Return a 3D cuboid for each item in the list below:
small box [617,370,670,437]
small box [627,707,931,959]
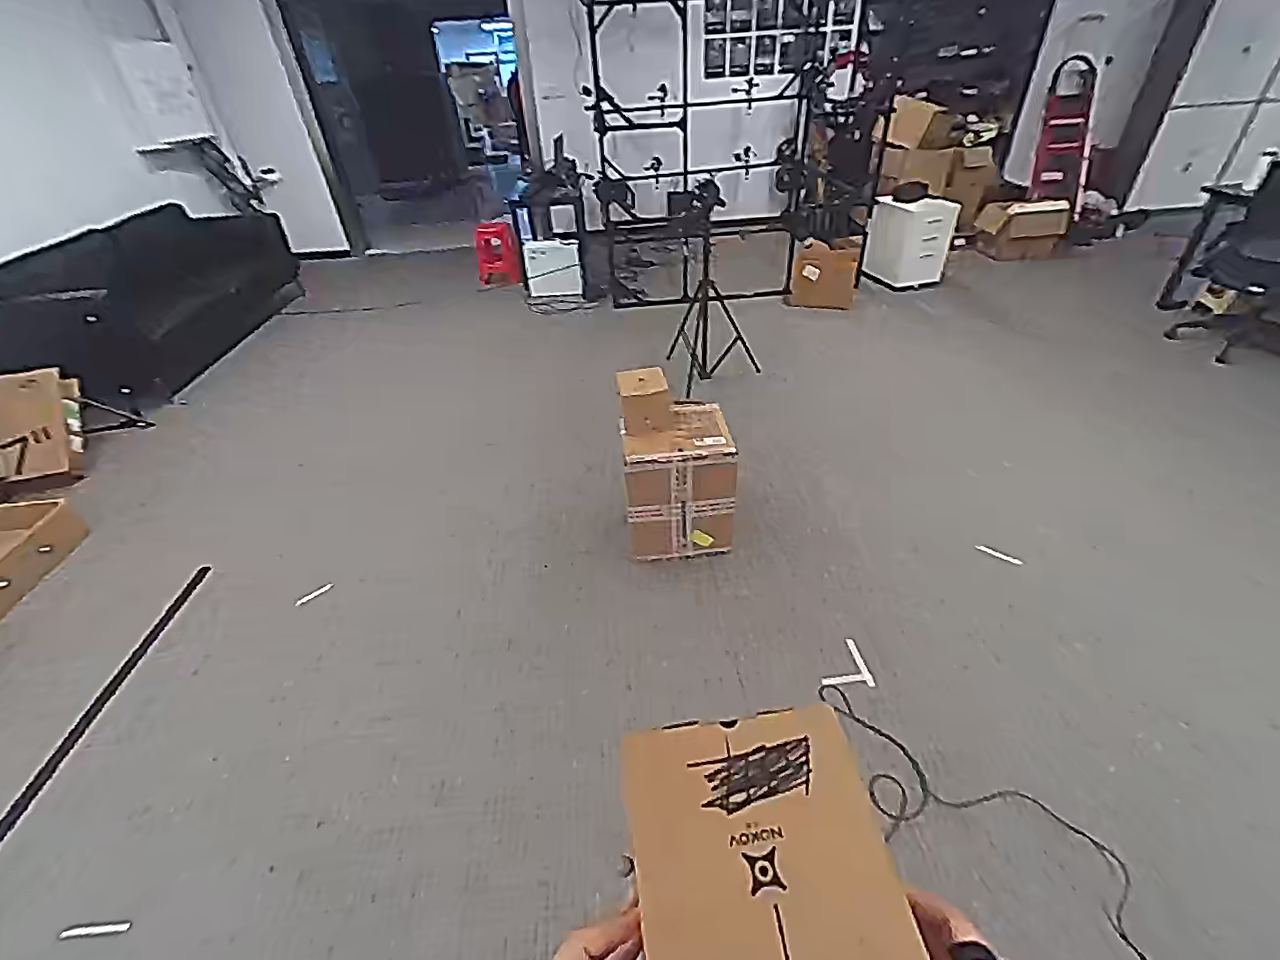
[{"bbox_3d":[0.011,-0.277,1.959,0.168,0.176,0.179,-9,40,-3],"label":"small box"},{"bbox_3d":[0.079,0.297,0.404,0.168,0.176,0.179,-6,47,-5],"label":"small box"}]
